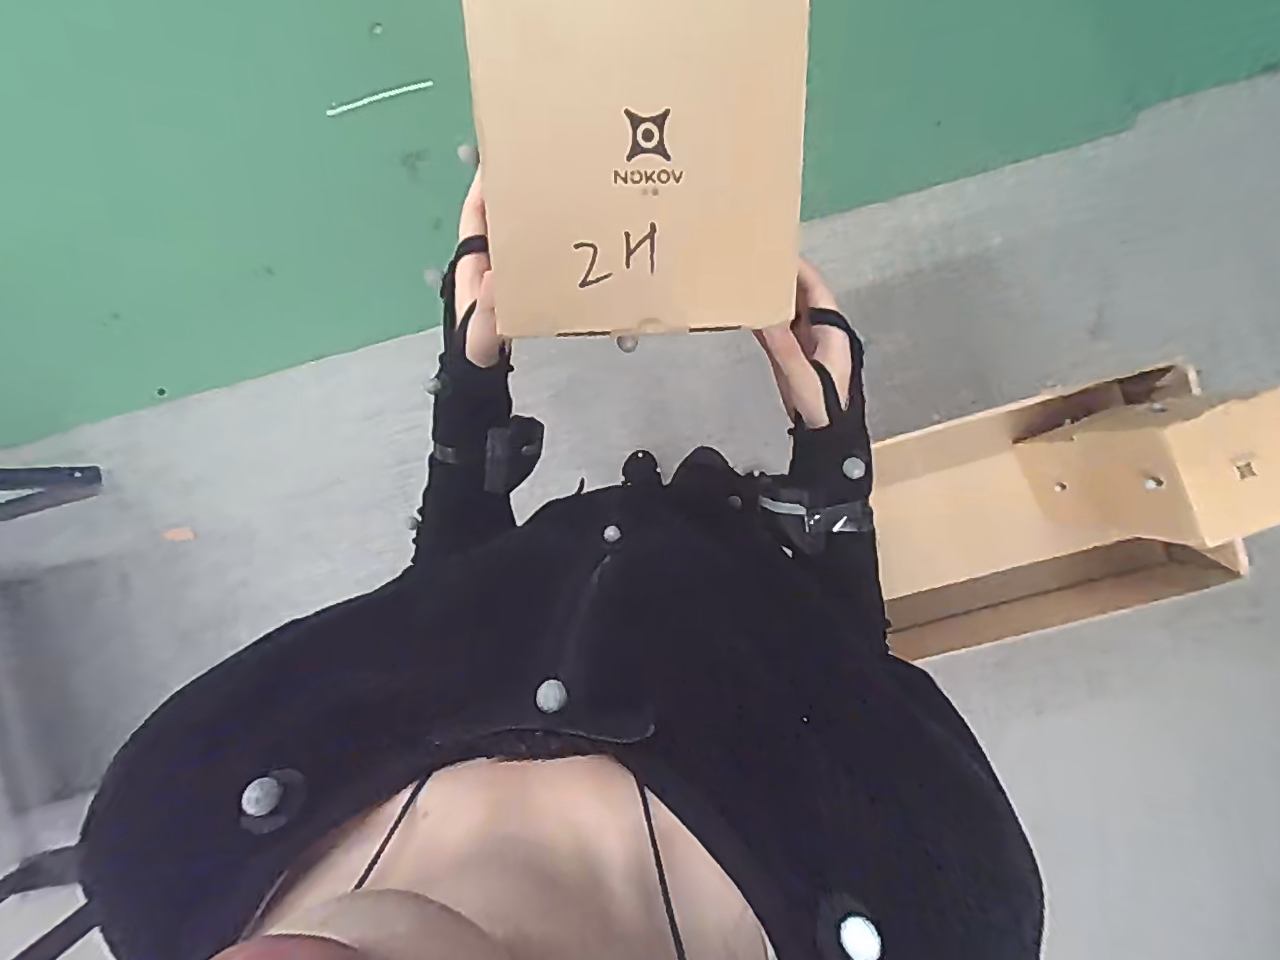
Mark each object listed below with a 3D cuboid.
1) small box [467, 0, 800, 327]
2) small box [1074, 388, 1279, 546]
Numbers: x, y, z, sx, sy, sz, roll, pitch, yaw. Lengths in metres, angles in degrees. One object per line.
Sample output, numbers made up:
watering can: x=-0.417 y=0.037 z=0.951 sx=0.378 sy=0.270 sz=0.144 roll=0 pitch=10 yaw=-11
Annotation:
small box: x=-0.011 y=-0.193 z=0.353 sx=0.168 sy=0.176 sz=0.179 roll=-3 pitch=107 yaw=-6
small box: x=0.810 y=-0.020 z=0.808 sx=0.168 sy=0.176 sz=0.179 roll=-20 pitch=90 yaw=4
